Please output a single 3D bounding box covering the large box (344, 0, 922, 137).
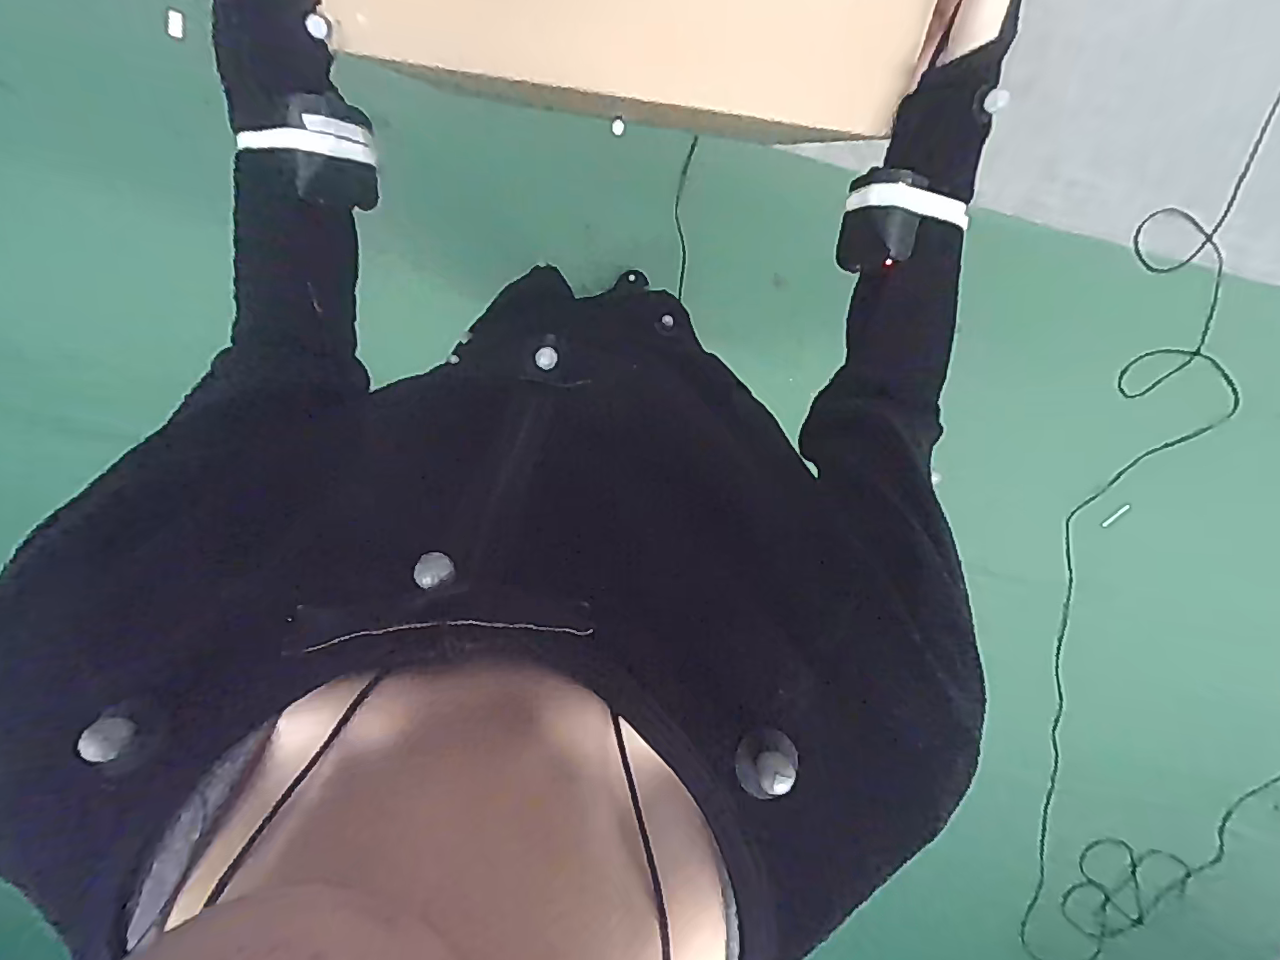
[{"bbox_3d":[0.003,-0.488,0.450,0.408,0.320,0.320,4,120,-7],"label":"large box"}]
